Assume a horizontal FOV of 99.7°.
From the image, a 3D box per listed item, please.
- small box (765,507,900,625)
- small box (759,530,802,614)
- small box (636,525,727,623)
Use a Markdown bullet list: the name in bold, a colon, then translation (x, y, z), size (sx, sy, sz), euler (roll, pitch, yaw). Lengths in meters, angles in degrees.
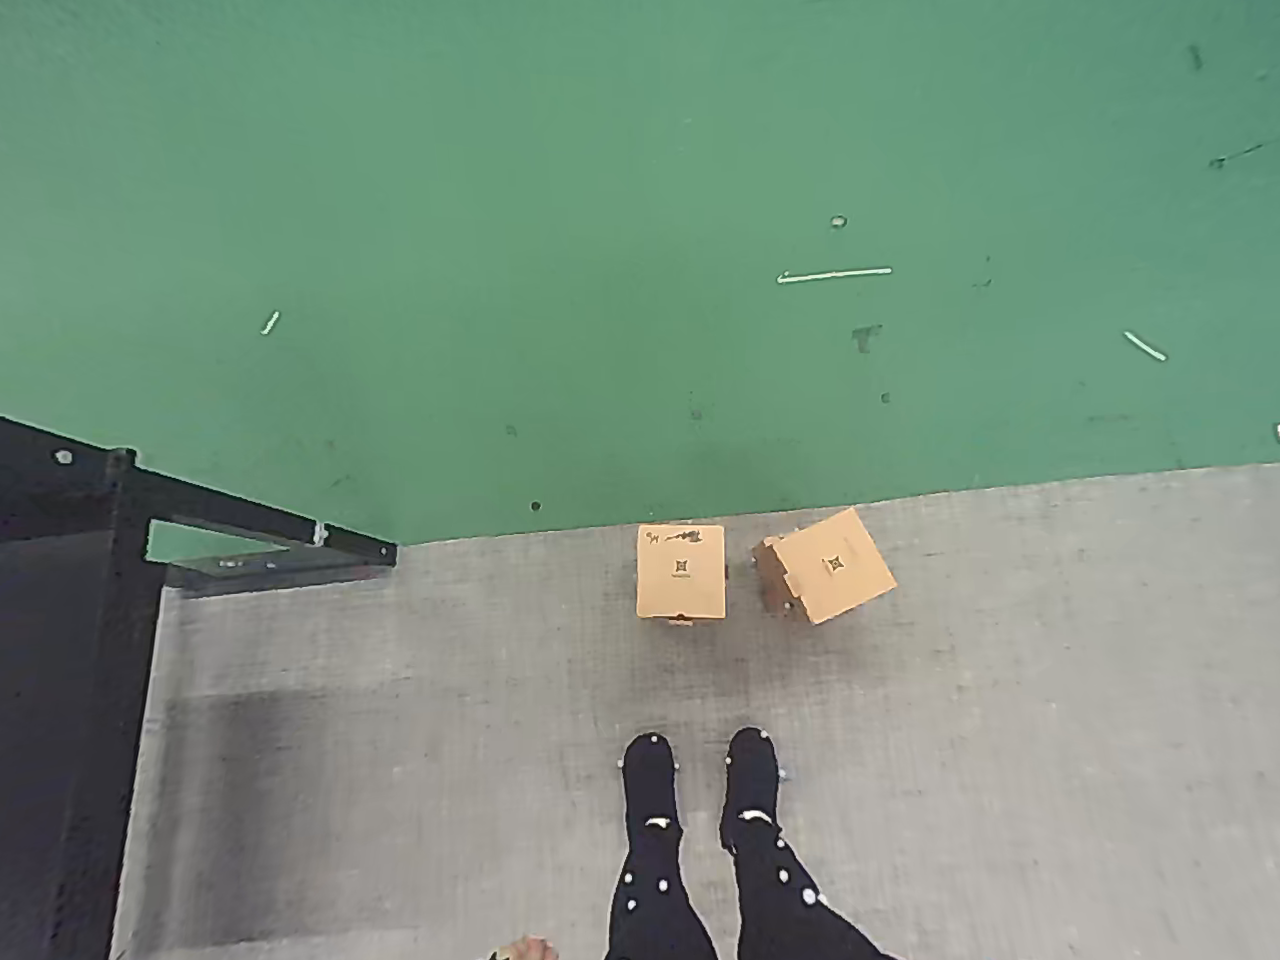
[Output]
- **small box**: translation (0.362, 0.174, 1.061), size (0.179, 0.176, 0.168), euler (-25, 77, -4)
- **small box**: translation (0.377, 0.205, 1.220), size (0.179, 0.176, 0.168), euler (-12, 75, -1)
- **small box**: translation (0.084, 0.190, 1.071), size (0.168, 0.176, 0.179), euler (0, 75, 4)
